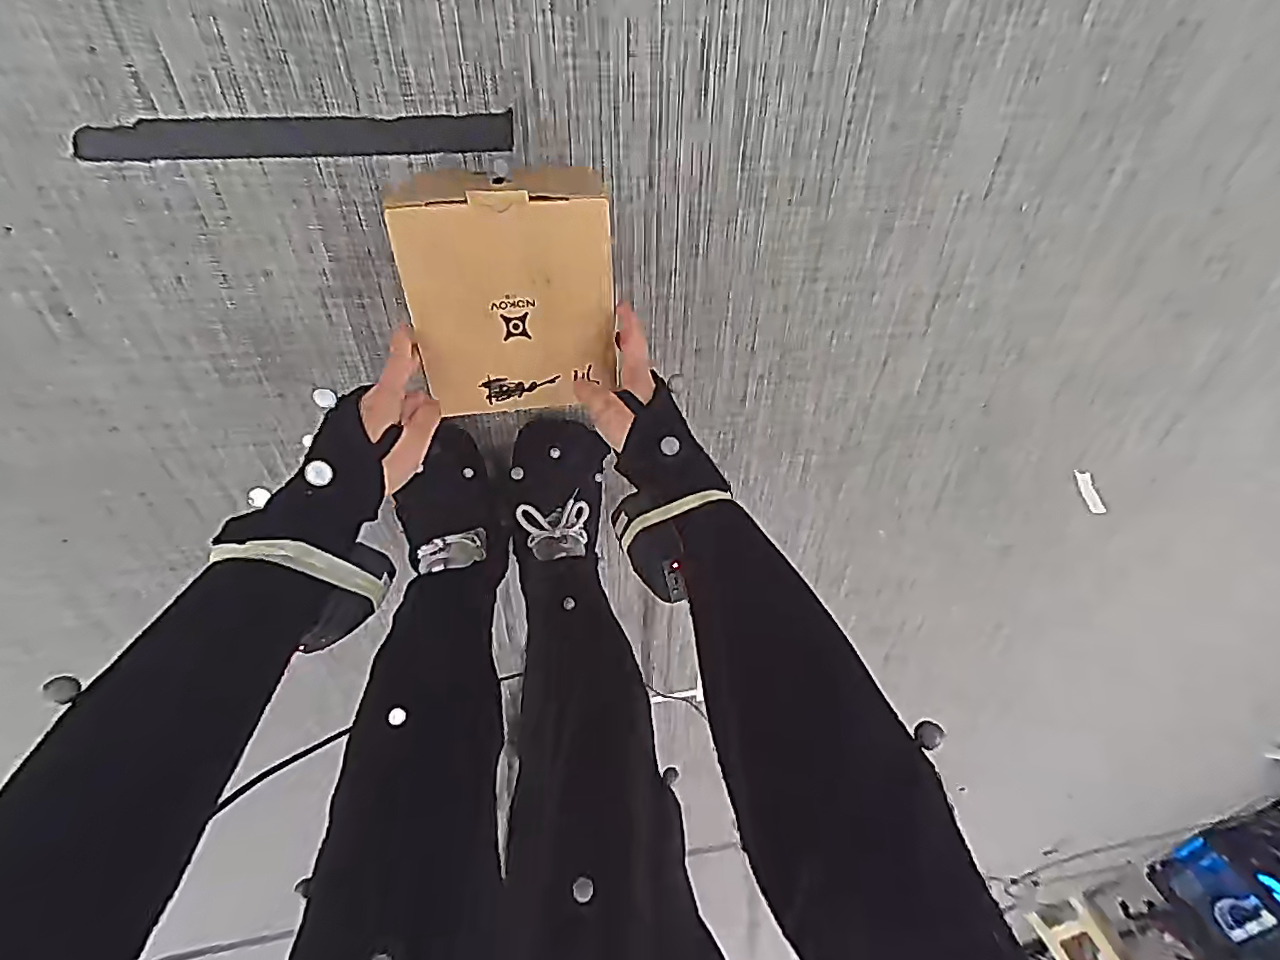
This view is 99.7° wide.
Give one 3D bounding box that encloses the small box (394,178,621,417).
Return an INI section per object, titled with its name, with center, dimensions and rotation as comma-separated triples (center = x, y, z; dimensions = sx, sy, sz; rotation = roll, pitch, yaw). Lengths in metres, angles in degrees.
[small box]
center = -0.114, -0.181, 0.511
dimensions = 0.168, 0.176, 0.179
rotation = -7, 126, -8
